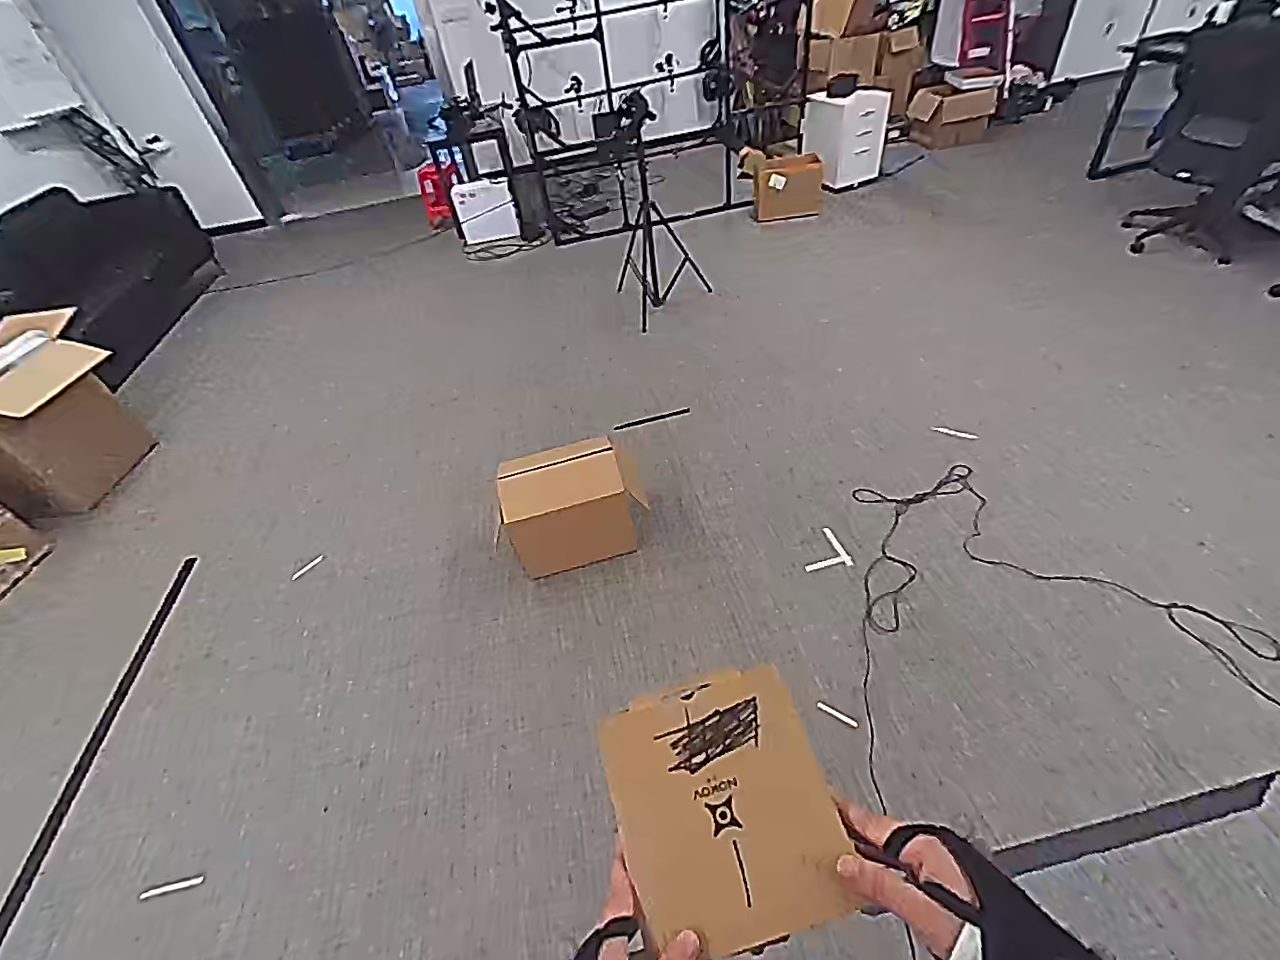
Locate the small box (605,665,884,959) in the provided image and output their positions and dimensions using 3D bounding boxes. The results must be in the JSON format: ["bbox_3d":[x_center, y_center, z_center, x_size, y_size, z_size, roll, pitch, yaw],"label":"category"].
[{"bbox_3d":[0.077,0.293,0.477,0.168,0.176,0.179,-17,55,-3],"label":"small box"}]
